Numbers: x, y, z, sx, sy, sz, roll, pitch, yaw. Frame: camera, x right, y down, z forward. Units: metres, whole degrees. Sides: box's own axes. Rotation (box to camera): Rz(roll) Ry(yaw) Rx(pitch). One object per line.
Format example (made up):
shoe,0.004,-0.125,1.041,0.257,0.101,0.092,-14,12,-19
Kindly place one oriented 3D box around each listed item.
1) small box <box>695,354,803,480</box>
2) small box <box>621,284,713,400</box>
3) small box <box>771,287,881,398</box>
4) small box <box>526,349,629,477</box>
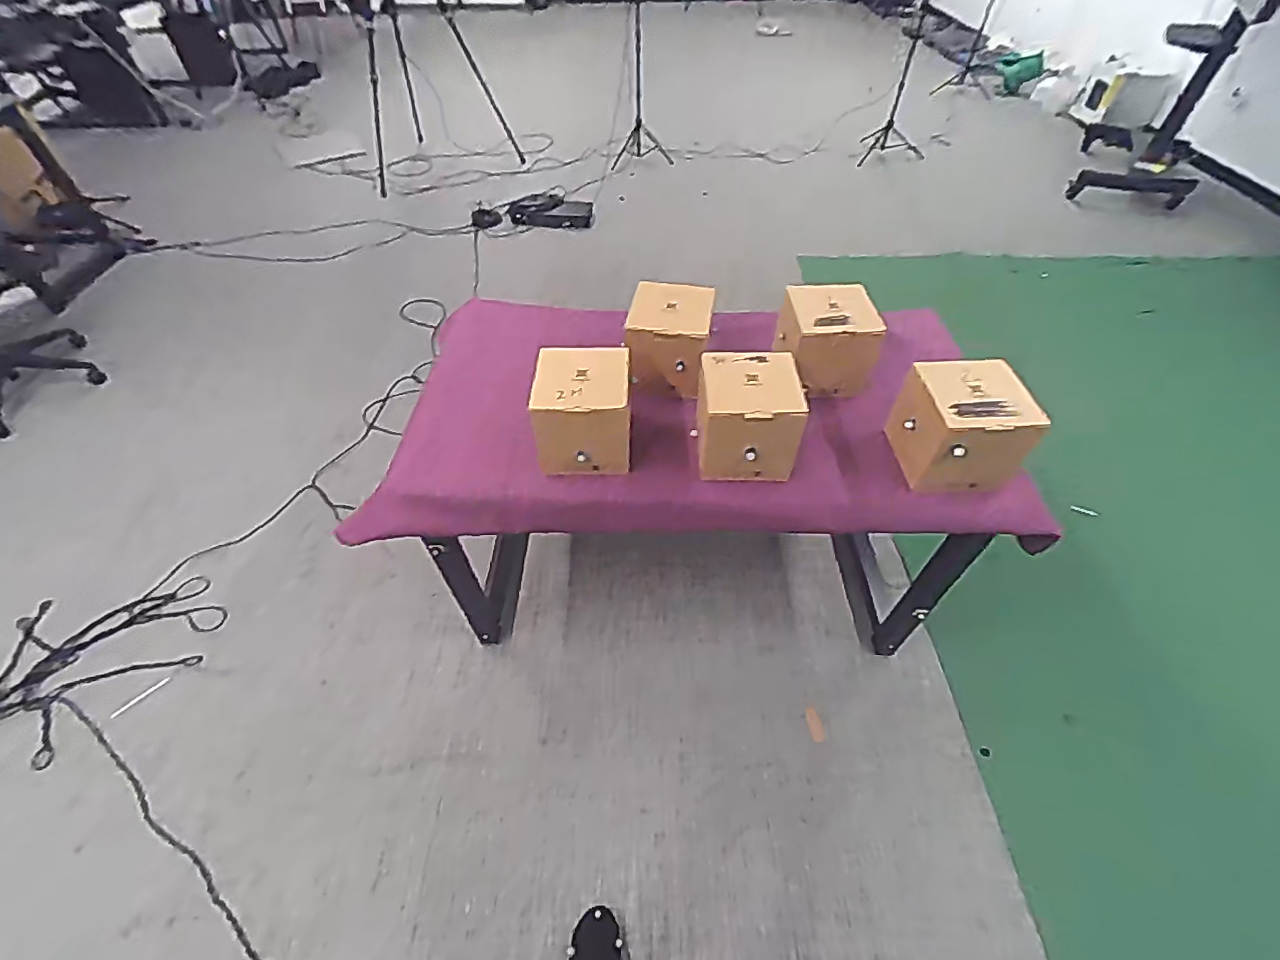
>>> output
small box,0.191,-0.113,1.002,0.168,0.176,0.179,1,49,1
small box,0.060,-0.294,1.160,0.168,0.176,0.179,9,50,6
small box,0.385,-0.289,1.153,0.168,0.176,0.179,-1,48,-1
small box,-0.107,-0.127,1.015,0.168,0.176,0.179,0,49,1
